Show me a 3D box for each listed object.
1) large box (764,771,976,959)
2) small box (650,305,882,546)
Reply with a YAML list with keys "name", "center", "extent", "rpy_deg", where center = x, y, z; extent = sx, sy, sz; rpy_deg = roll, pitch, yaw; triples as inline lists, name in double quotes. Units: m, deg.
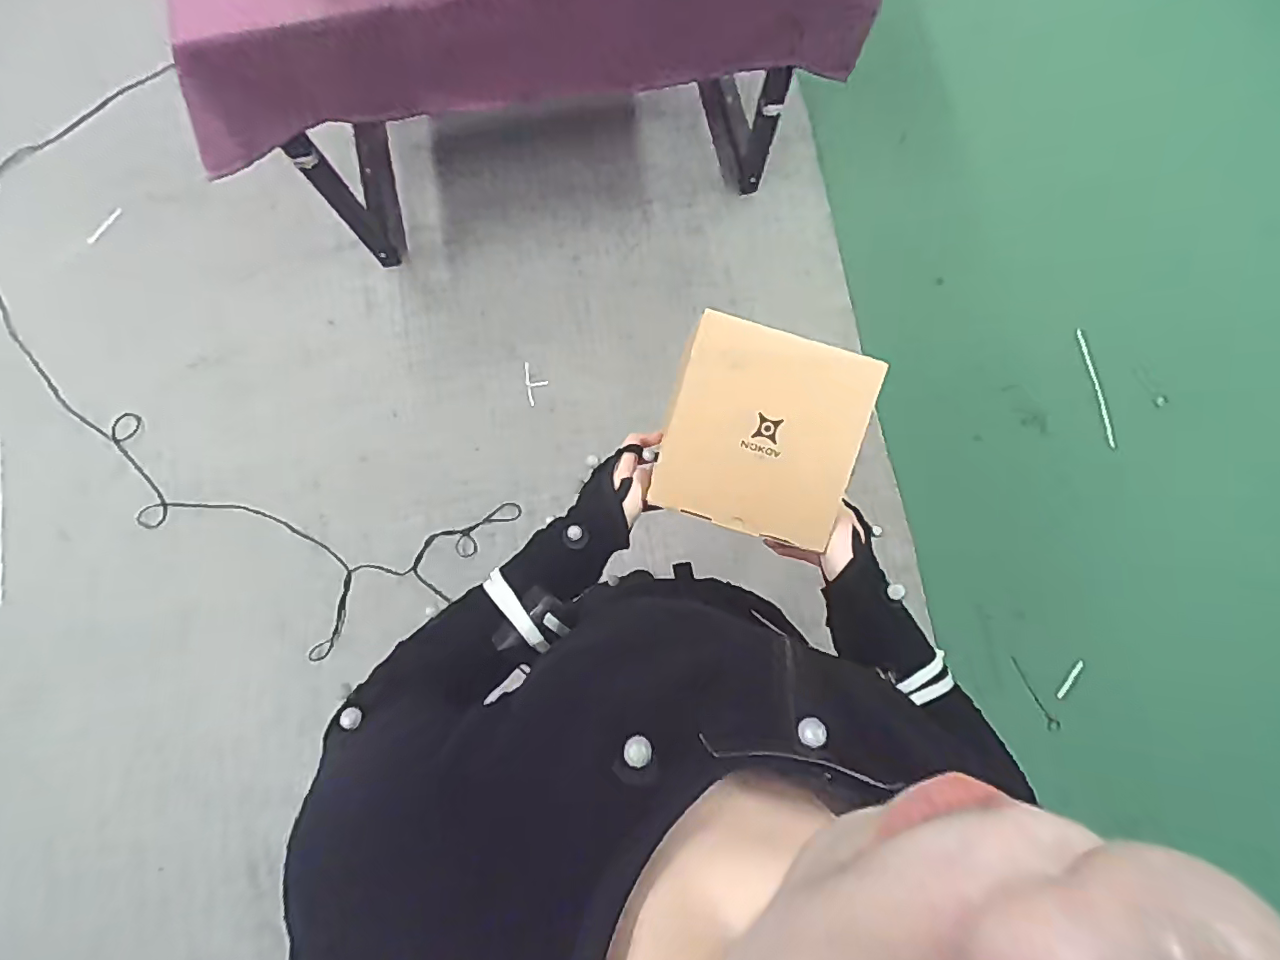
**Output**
- name: "large box"
  center: [0.517, 0.970, 1.251]
  extent: [0.320, 0.320, 0.408]
  rpy_deg: [-12, 83, -3]
- name: "small box"
  center: [0.109, -0.055, 0.552]
  extent: [0.168, 0.176, 0.179]
  rpy_deg: [16, 97, -1]
